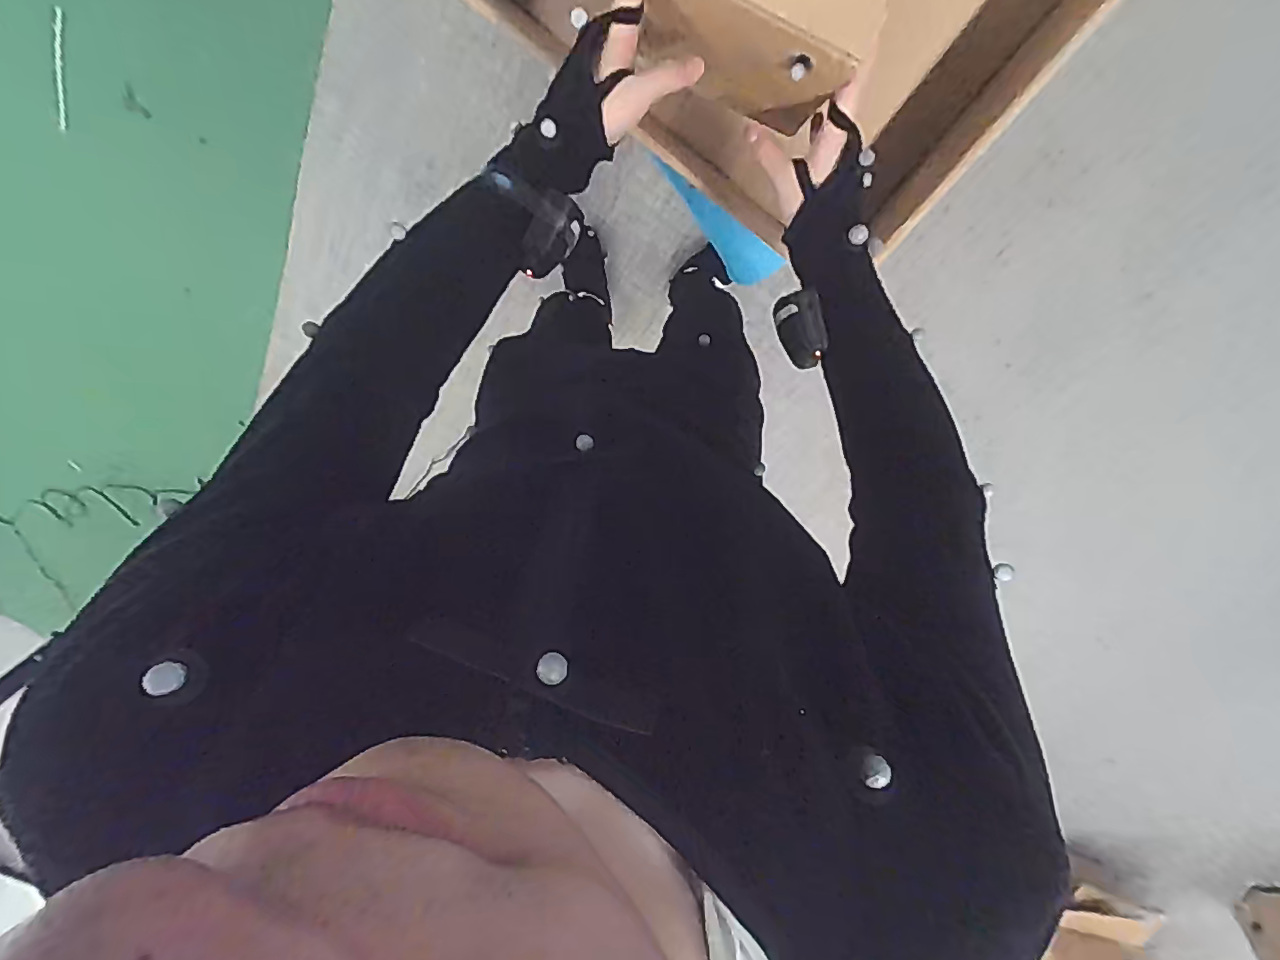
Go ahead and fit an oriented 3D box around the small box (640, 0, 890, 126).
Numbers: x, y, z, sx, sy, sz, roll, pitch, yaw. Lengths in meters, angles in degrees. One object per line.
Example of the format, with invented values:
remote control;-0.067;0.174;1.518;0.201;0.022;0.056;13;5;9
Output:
small box;0.107;-0.428;0.442;0.179;0.176;0.168;18;105;-10
